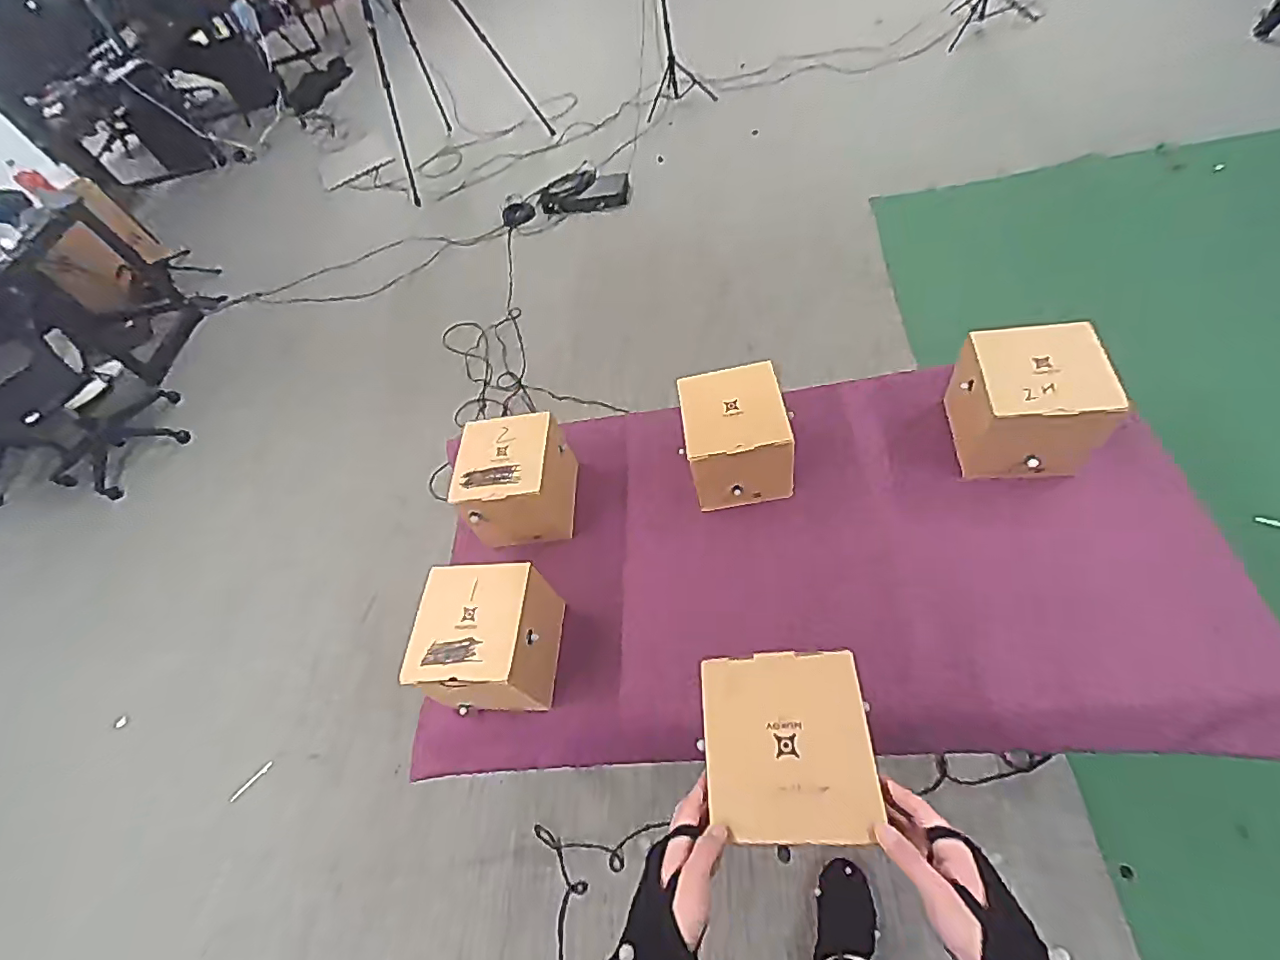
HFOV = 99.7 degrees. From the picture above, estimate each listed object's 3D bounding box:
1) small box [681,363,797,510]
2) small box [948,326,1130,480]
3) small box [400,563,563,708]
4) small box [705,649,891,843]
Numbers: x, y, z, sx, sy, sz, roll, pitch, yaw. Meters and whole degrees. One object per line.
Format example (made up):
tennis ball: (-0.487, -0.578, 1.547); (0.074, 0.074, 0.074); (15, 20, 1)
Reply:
small box: (0.169, -0.071, 0.943); (0.168, 0.176, 0.179); (-10, 57, 7)
small box: (0.610, -0.117, 0.858); (0.168, 0.176, 0.179); (-2, 58, 14)
small box: (-0.228, 0.244, 0.831); (0.168, 0.176, 0.179); (-4, 55, 11)
small box: (0.168, 0.305, 0.614); (0.168, 0.176, 0.179); (-7, 56, 12)
